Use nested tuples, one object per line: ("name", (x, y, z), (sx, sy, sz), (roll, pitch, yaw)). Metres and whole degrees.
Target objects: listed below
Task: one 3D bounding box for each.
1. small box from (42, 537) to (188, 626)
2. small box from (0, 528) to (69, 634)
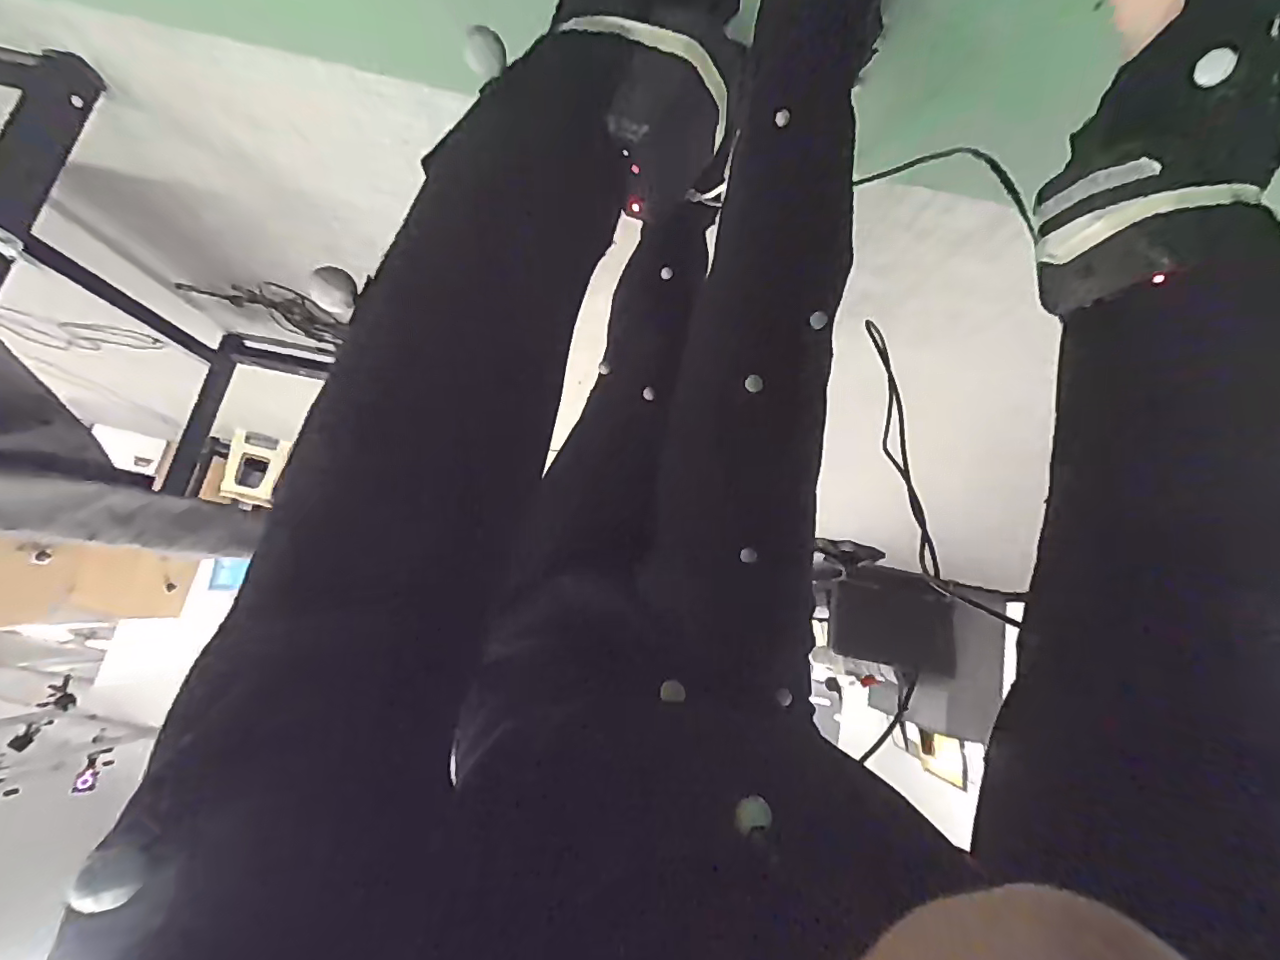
("small box", (-1.200, 0.232, 1.249), (0.179, 0.176, 0.168), (11, 167, 5))
("small box", (-1.165, 0.165, 0.932), (0.179, 0.176, 0.168), (9, 168, 6))
